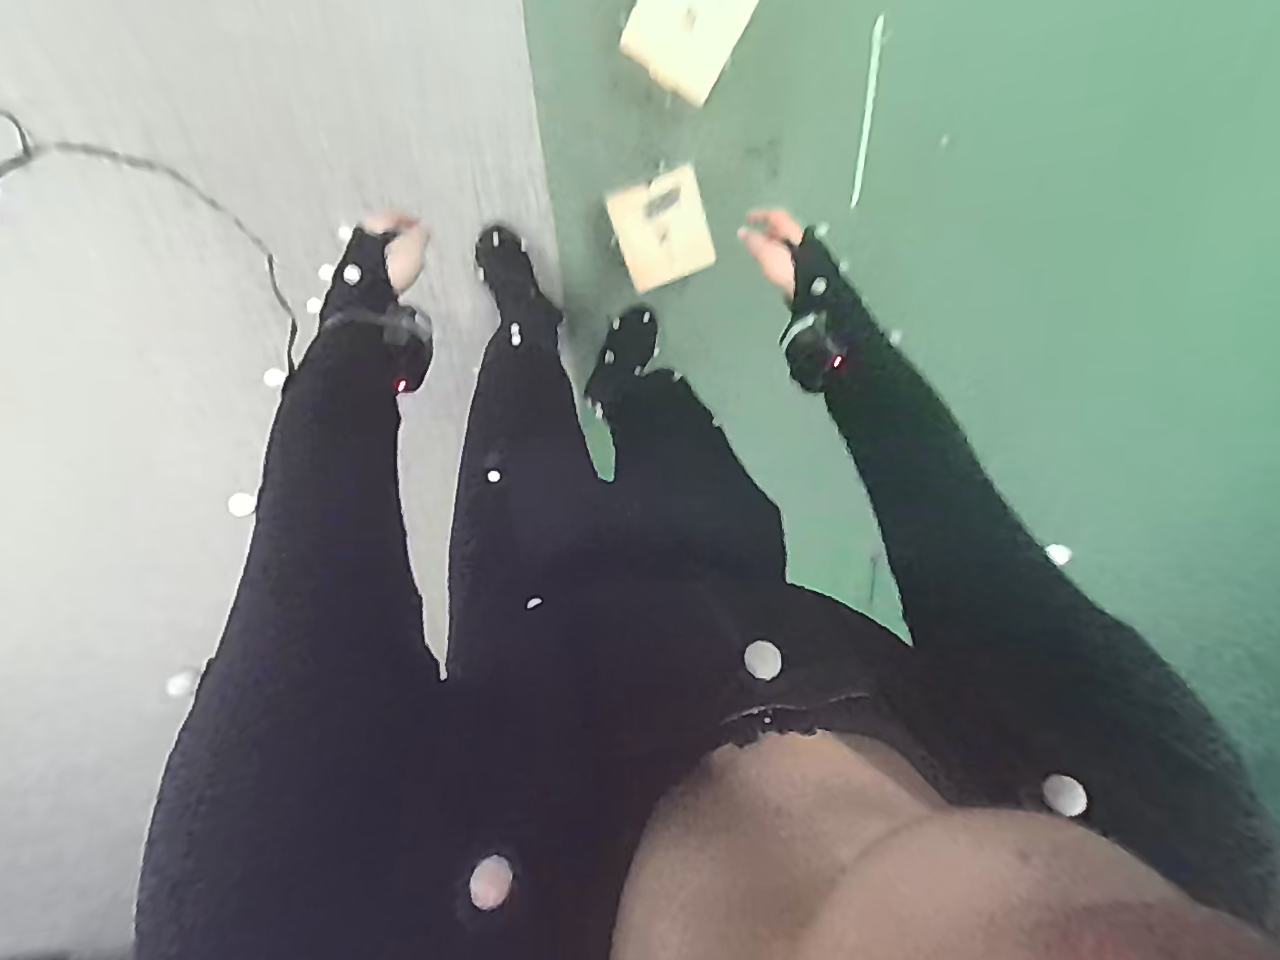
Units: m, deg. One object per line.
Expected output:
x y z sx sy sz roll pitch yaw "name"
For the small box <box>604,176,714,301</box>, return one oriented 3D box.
0.033 -0.484 1.081 0.168 0.176 0.179 -19 120 5 "small box"
